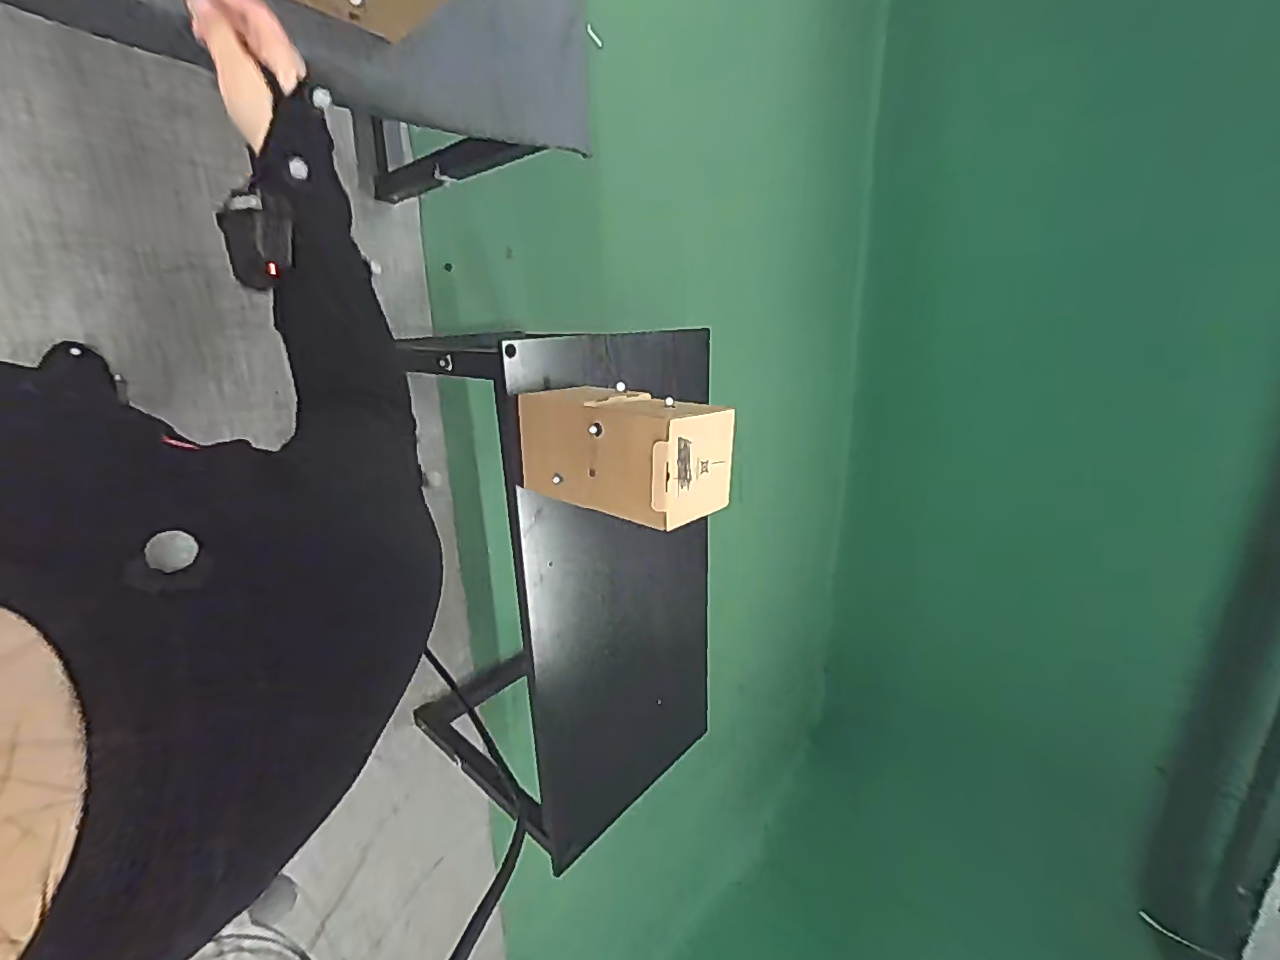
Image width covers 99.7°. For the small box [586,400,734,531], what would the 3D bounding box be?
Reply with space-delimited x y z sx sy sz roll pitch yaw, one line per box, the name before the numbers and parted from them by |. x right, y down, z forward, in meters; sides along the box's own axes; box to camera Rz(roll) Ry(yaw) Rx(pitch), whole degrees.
small box | 0.028 -0.033 0.860 0.179 0.176 0.168 -15 113 -47

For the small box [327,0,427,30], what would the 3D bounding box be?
small box | -0.307 -0.623 0.563 0.168 0.176 0.179 -13 110 -46
